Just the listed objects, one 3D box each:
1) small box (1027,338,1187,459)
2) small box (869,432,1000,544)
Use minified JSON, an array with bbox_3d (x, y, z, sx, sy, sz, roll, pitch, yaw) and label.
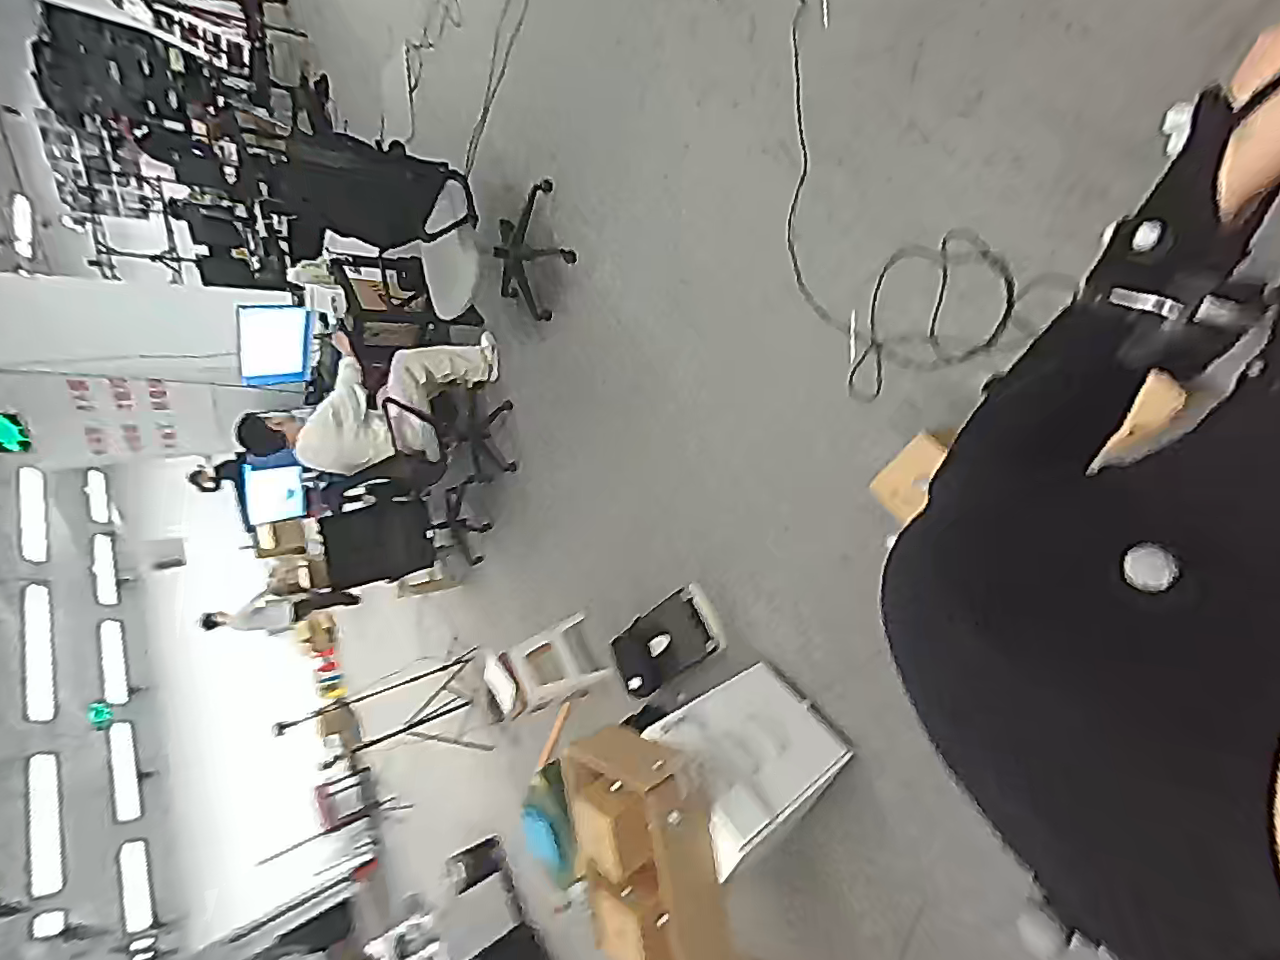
[{"bbox_3d":[0.937,-0.166,1.084,0.168,0.176,0.179,-48,62,43],"label":"small box"},{"bbox_3d":[0.656,0.011,1.196,0.168,0.176,0.179,54,134,27],"label":"small box"}]
